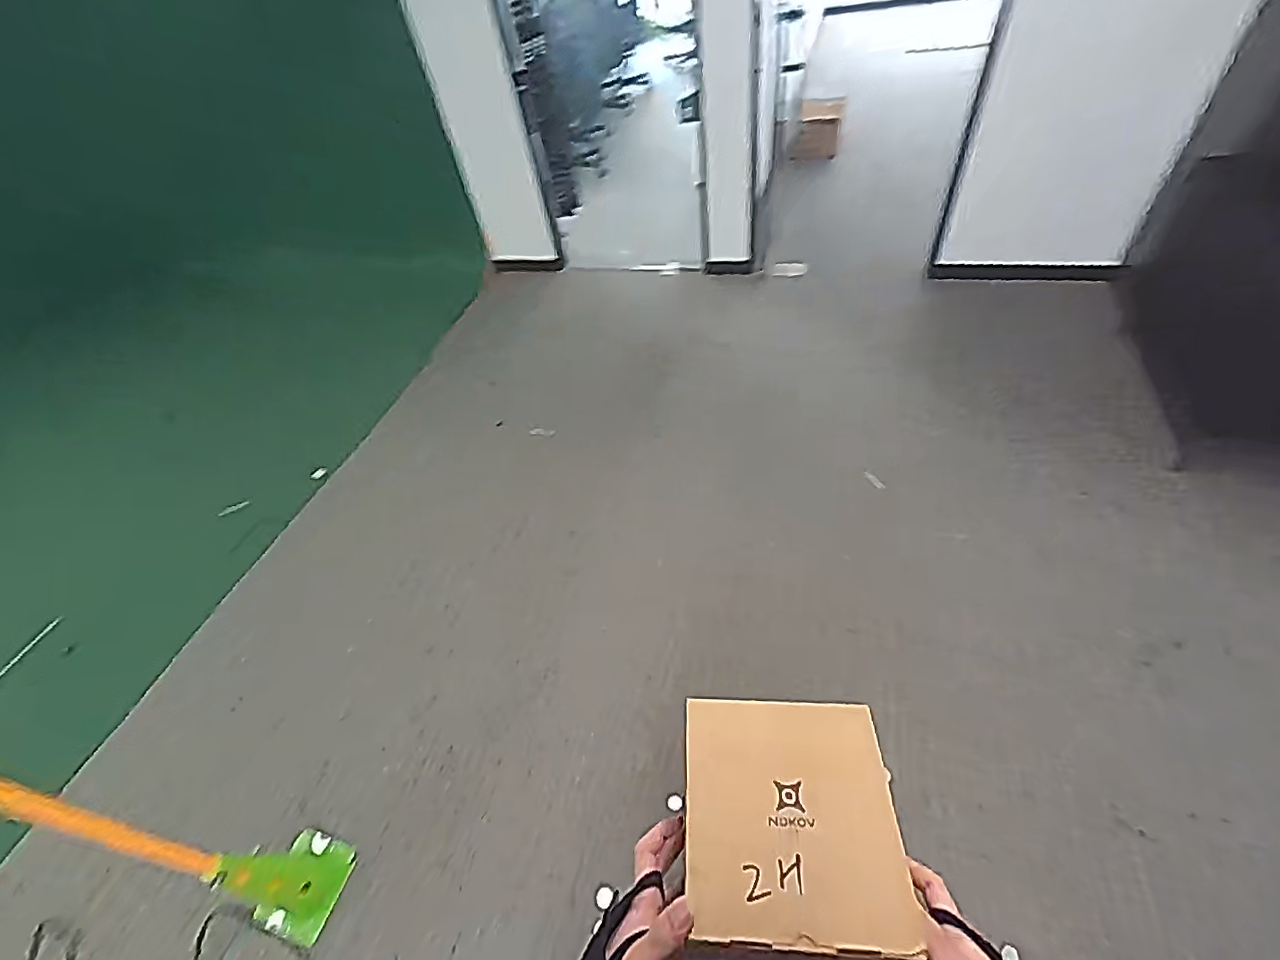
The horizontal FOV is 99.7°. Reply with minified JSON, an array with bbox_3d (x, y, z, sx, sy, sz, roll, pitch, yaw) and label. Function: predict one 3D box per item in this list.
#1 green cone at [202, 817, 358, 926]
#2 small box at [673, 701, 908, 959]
[{"bbox_3d":[-0.893,0.915,1.294,0.200,0.368,0.202,8,52,17],"label":"green cone"},{"bbox_3d":[0.115,0.327,0.496,0.168,0.176,0.179,0,44,5],"label":"small box"}]
